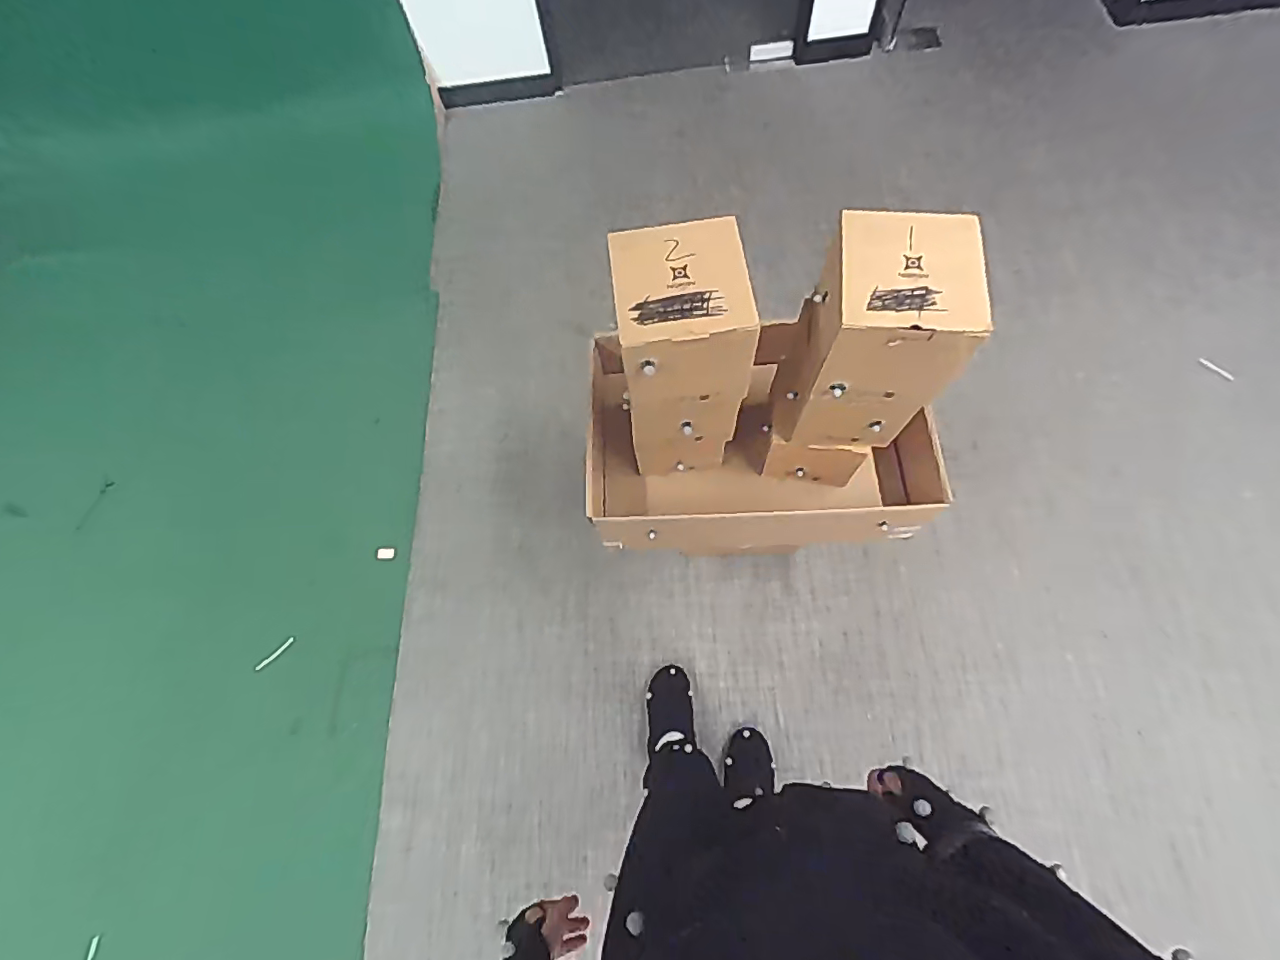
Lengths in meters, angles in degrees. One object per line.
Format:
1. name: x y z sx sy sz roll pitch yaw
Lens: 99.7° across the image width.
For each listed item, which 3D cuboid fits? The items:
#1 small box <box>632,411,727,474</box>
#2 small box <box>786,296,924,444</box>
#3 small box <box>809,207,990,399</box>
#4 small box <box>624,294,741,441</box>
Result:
1. small box: 0.070 -0.128 1.043 0.168 0.176 0.179 -6 69 3
2. small box: 0.333 -0.169 0.864 0.168 0.176 0.179 3 70 5
3. small box: 0.325 -0.223 0.709 0.168 0.176 0.179 6 69 6
4. small box: 0.067 -0.173 0.884 0.168 0.176 0.179 -5 70 2
